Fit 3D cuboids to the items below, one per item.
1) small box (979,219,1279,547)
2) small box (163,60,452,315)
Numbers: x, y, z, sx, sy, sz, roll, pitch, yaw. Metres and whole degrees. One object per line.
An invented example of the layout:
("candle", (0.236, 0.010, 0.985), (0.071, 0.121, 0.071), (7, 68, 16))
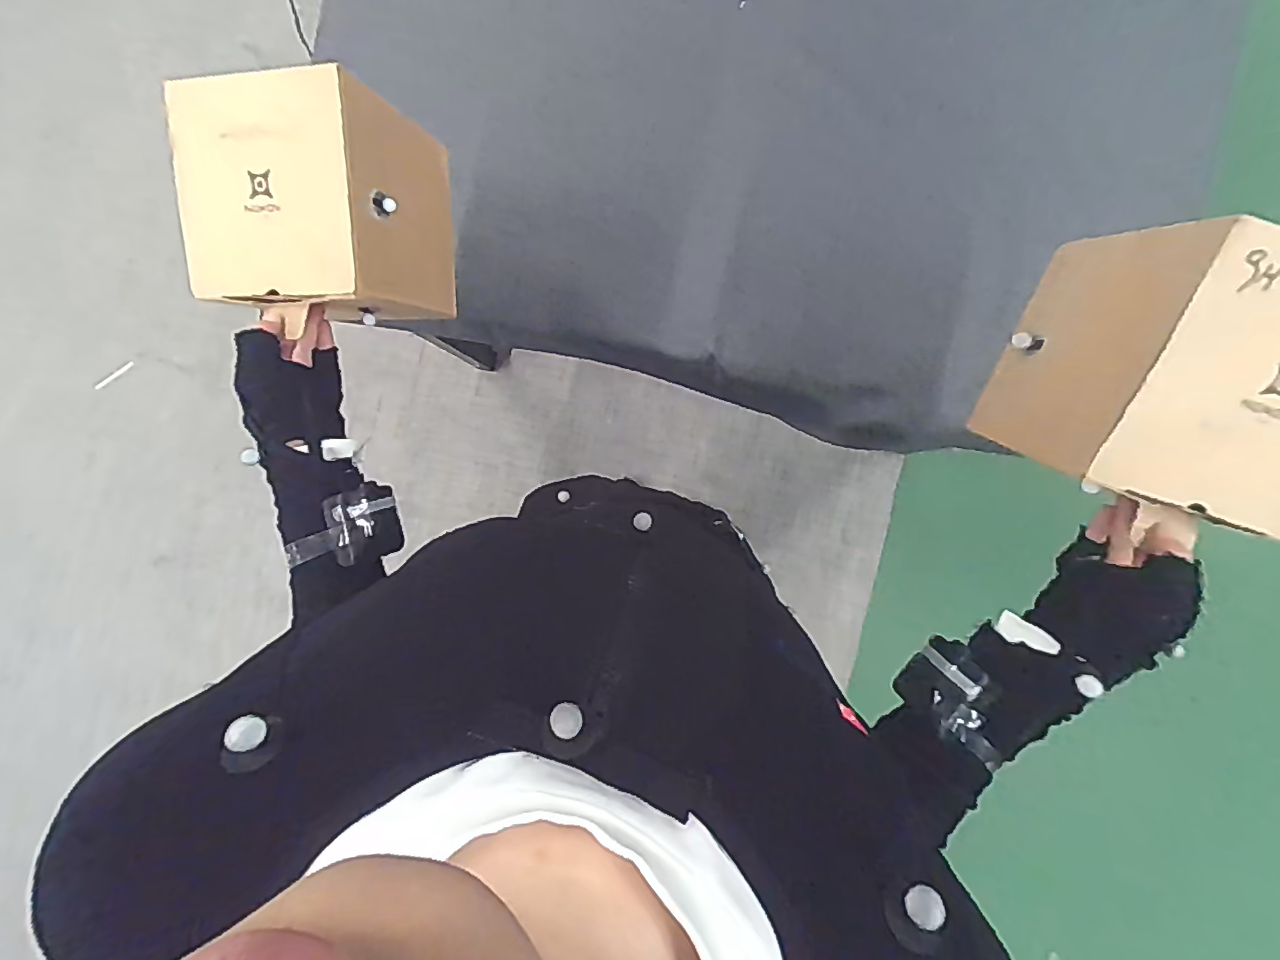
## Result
("small box", (0.410, -0.080, 0.425), (0.168, 0.176, 0.179), (17, 110, -2))
("small box", (-0.297, -0.256, 0.521), (0.168, 0.176, 0.179), (2, 100, 10))
